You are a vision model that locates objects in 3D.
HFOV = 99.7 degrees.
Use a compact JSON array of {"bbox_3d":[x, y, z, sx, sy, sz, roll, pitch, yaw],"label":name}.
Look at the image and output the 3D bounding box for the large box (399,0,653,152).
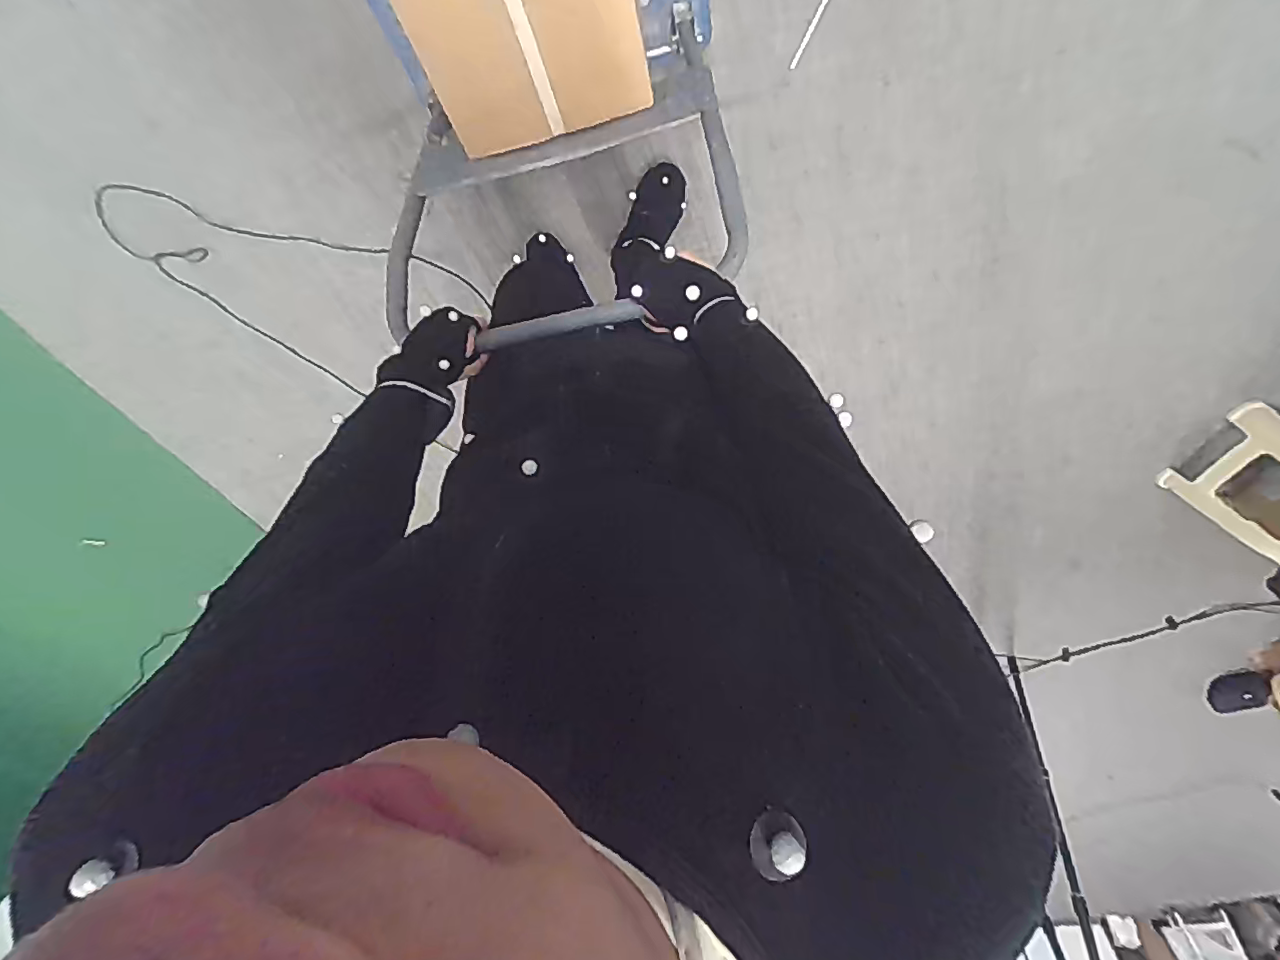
[{"bbox_3d":[-0.179,-0.789,0.782,0.320,0.320,0.408,-10,149,10],"label":"large box"}]
